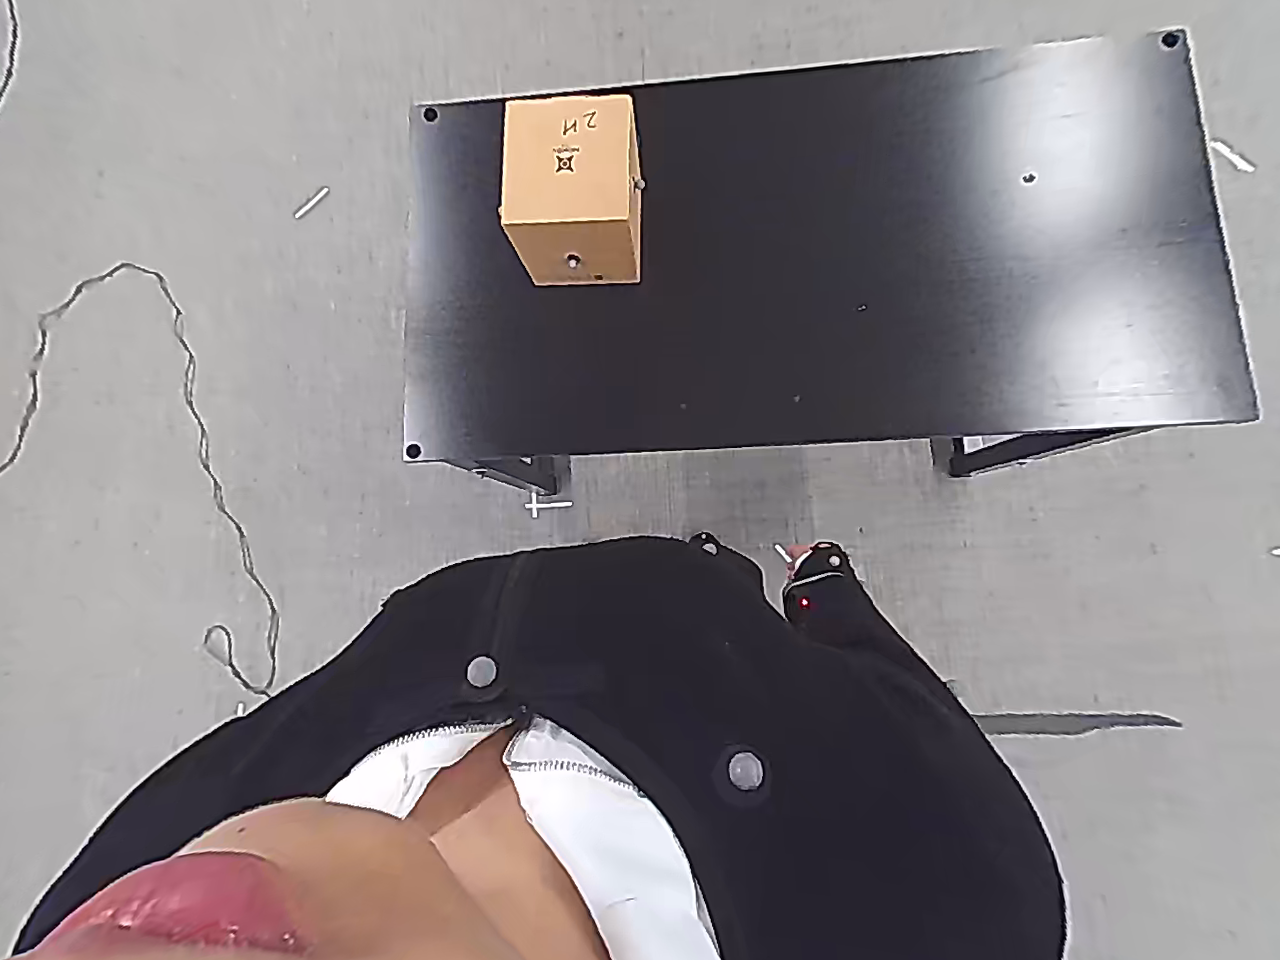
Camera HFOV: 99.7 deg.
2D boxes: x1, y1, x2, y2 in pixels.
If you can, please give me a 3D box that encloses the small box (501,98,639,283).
[{"bbox_3d":[-0.089,-0.397,0.772,0.168,0.176,0.179,0,82,5],"label":"small box"}]
